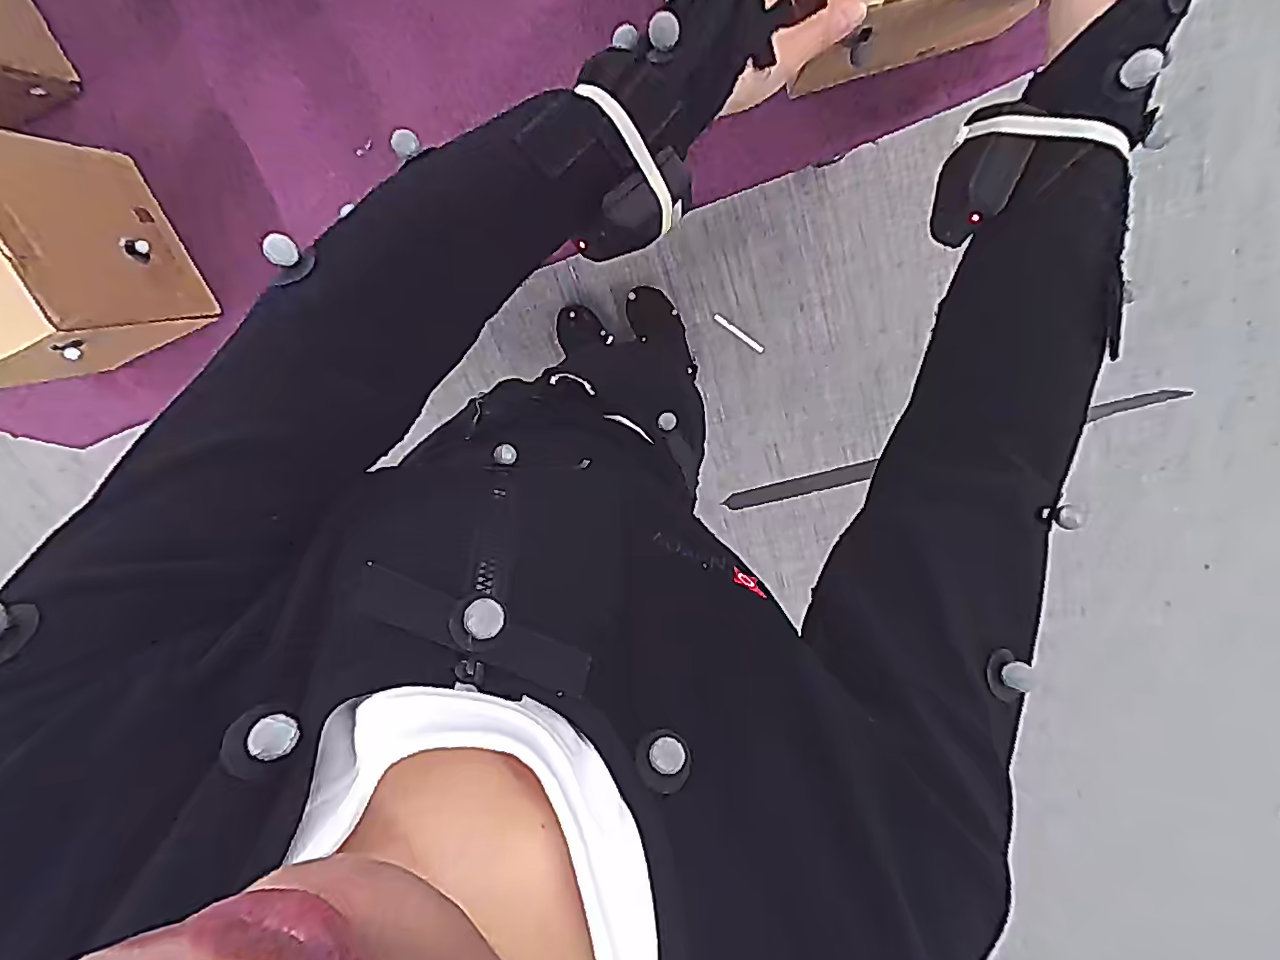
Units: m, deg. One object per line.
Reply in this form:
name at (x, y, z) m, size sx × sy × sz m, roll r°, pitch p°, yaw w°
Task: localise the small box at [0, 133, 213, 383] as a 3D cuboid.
small box at (-0.571, -0.196, 0.509) m, size 0.179 × 0.176 × 0.168 m, roll -18°, pitch 108°, yaw 12°
